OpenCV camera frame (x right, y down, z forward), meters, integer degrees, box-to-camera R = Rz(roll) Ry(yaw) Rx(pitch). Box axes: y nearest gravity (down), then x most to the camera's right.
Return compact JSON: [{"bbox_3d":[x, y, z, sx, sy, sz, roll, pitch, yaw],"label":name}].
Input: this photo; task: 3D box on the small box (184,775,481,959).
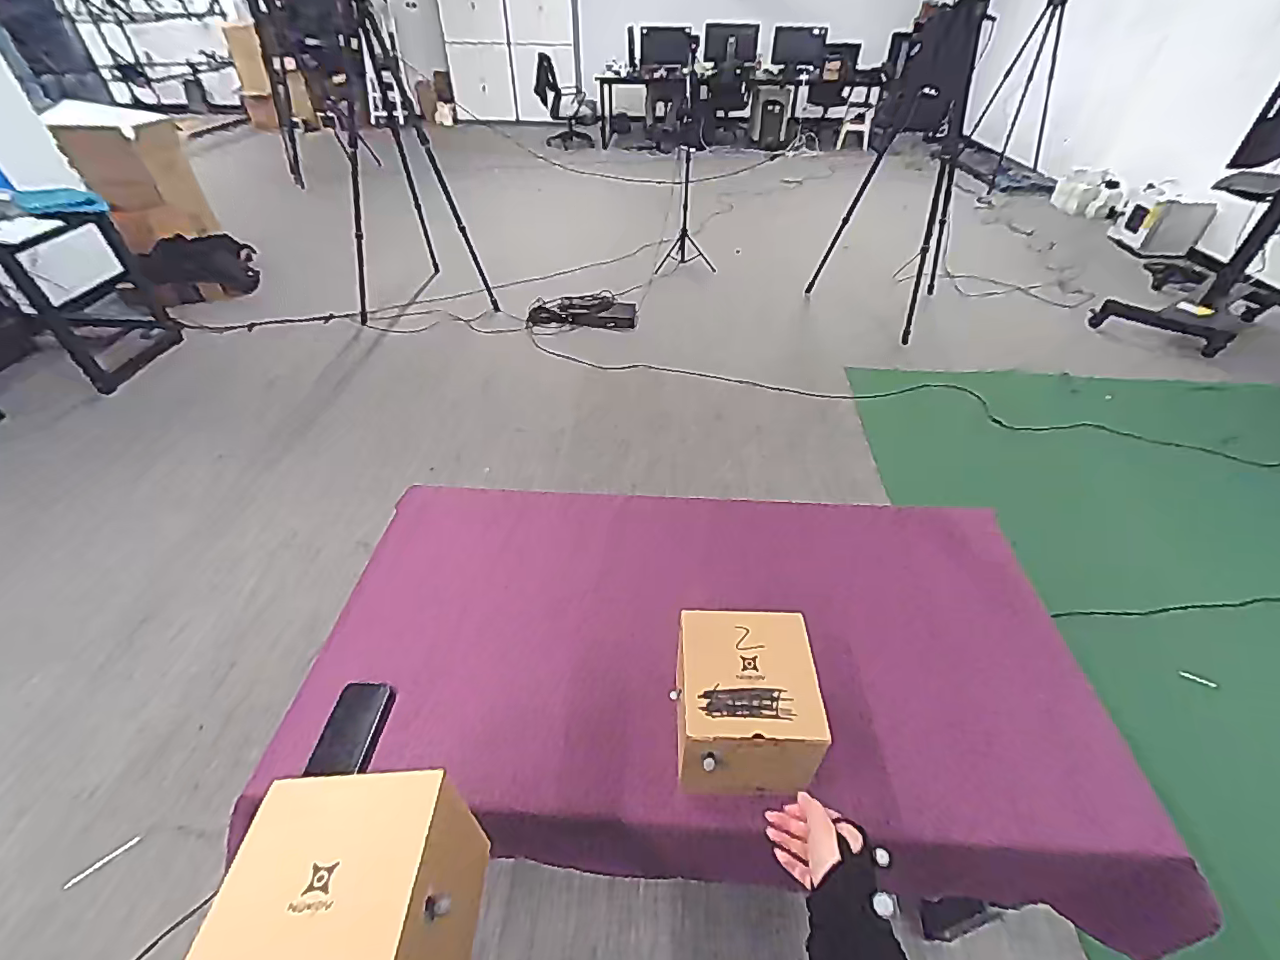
[{"bbox_3d":[-0.252,0.392,0.481,0.168,0.176,0.179,-4,37,2],"label":"small box"}]
